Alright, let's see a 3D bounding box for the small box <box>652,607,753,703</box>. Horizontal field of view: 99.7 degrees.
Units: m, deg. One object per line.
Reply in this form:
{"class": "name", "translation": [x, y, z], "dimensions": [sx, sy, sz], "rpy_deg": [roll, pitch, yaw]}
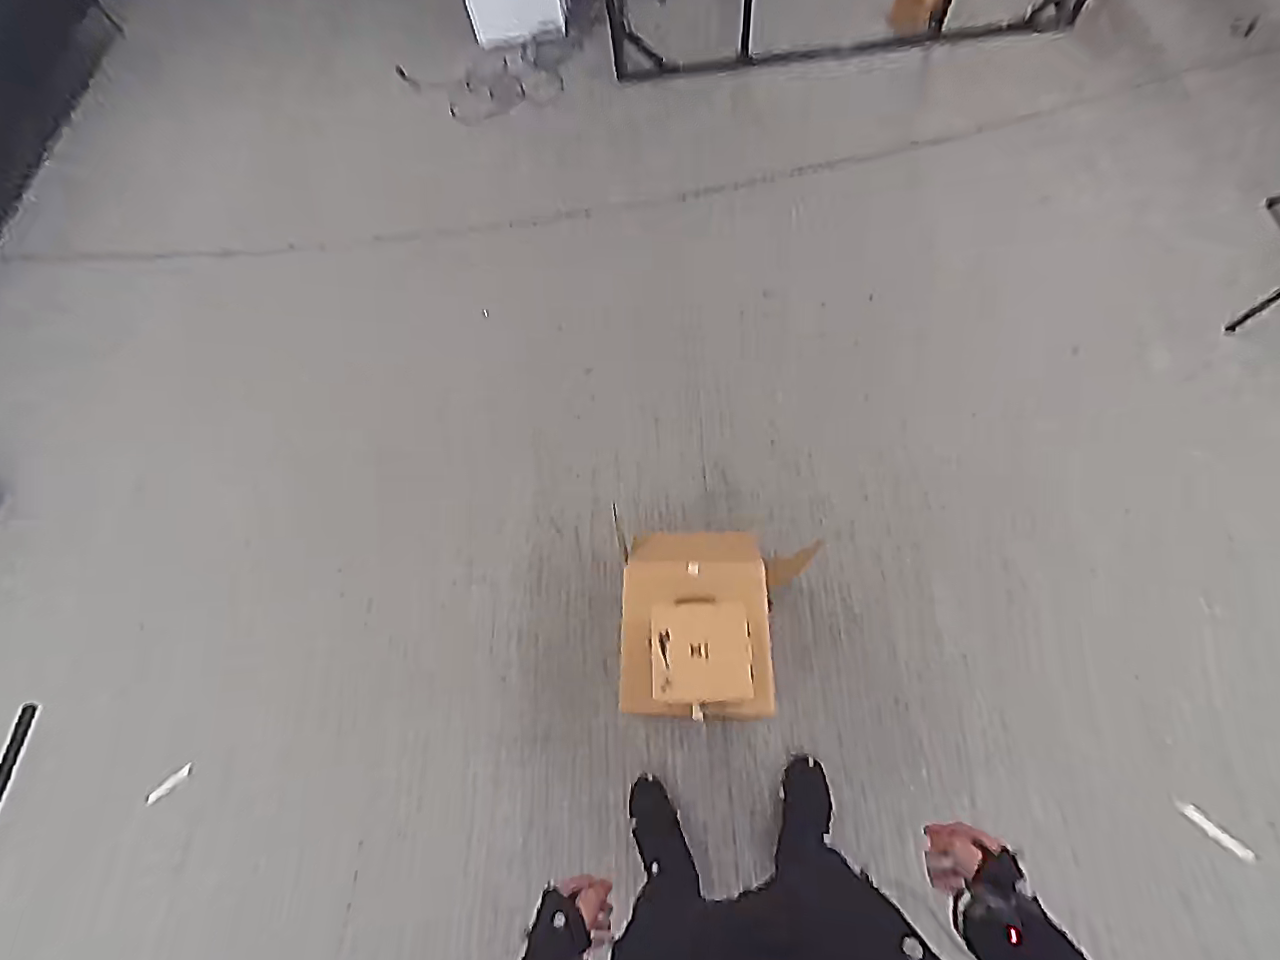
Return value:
{"class": "small box", "translation": [0.114, 0.337, 1.033], "dimensions": [0.179, 0.176, 0.168], "rpy_deg": [-2, 68, 5]}
